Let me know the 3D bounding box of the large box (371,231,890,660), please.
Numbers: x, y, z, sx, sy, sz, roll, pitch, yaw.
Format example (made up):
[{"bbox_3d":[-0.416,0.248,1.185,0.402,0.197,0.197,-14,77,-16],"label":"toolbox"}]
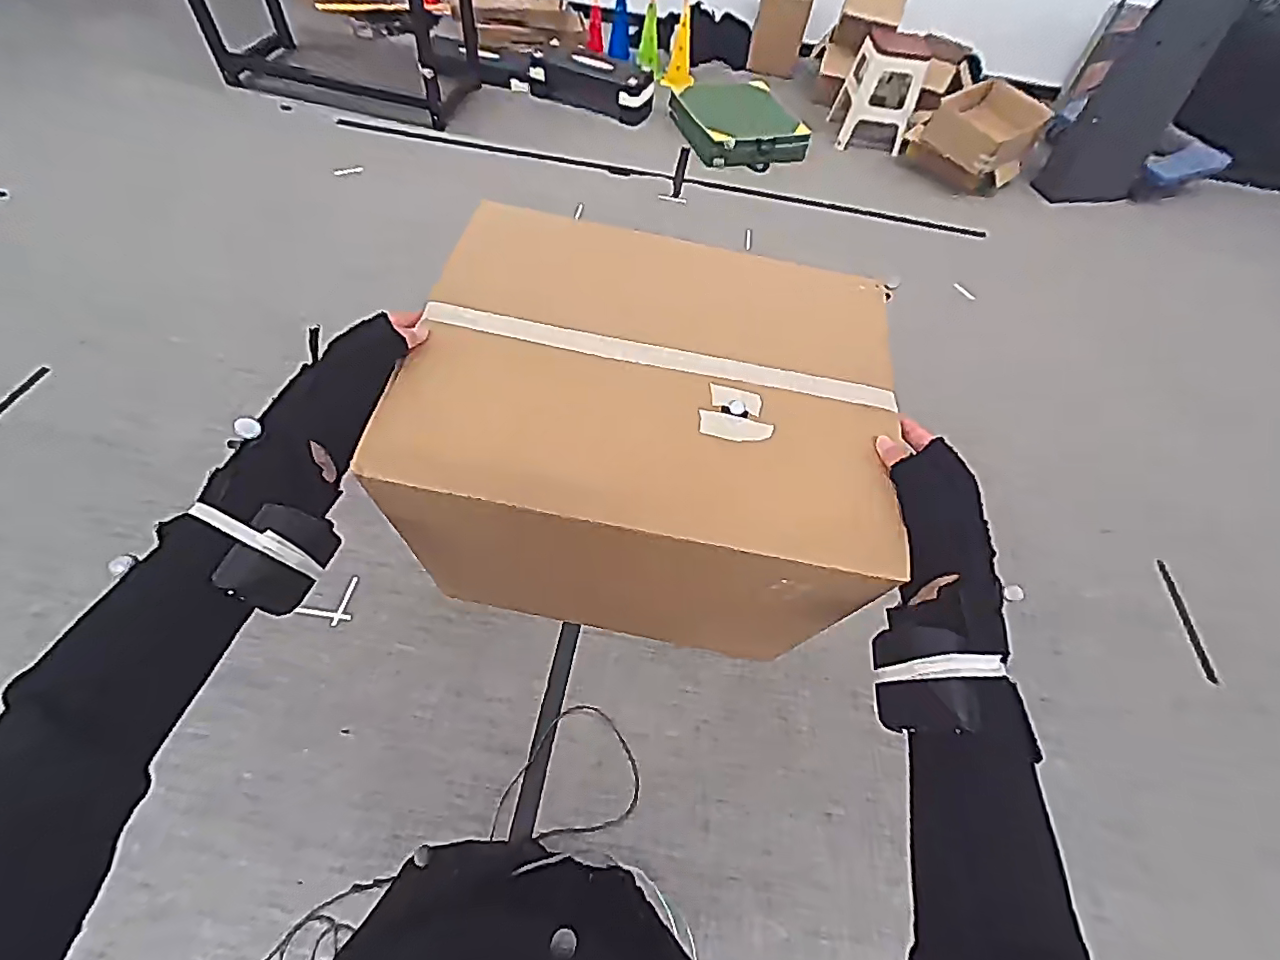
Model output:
[{"bbox_3d":[-0.001,-0.014,0.603,0.408,0.320,0.320,11,61,-1],"label":"large box"}]
